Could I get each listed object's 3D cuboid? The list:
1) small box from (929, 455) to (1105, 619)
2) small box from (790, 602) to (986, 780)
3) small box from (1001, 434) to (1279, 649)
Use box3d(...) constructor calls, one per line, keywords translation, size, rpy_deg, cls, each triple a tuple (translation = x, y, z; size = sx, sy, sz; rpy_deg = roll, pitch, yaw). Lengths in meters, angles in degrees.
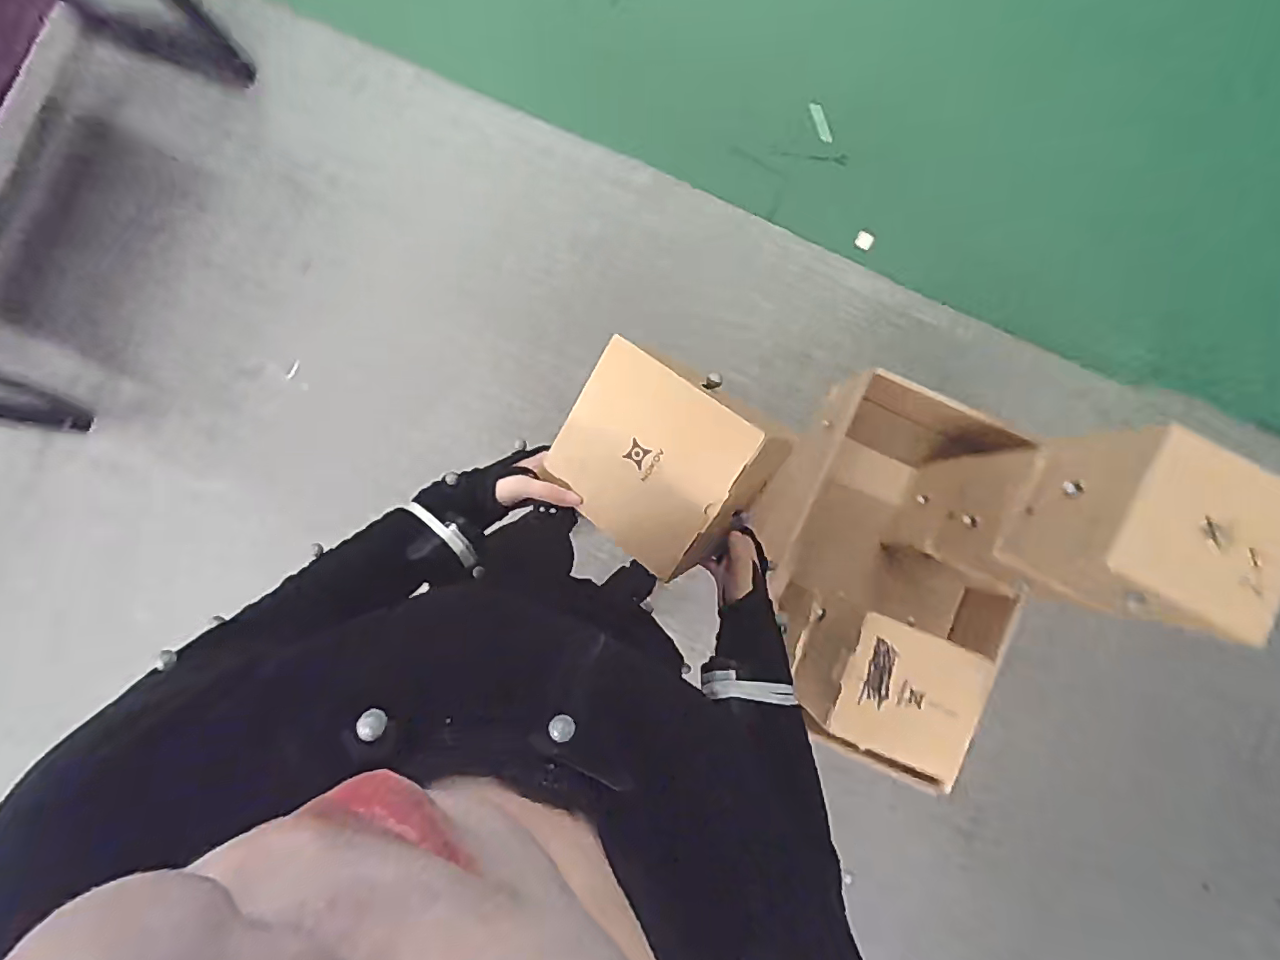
box3d(translation=(0.574, 0.081, 0.803), size=(0.179, 0.176, 0.168), rpy_deg=(28, 87, 0), cls="small box")
box3d(translation=(0.342, 0.287, 0.782), size=(0.179, 0.176, 0.168), rpy_deg=(23, 86, 1), cls="small box")
box3d(translation=(0.583, 0.068, 0.640), size=(0.179, 0.176, 0.168), rpy_deg=(30, 88, 1), cls="small box")
